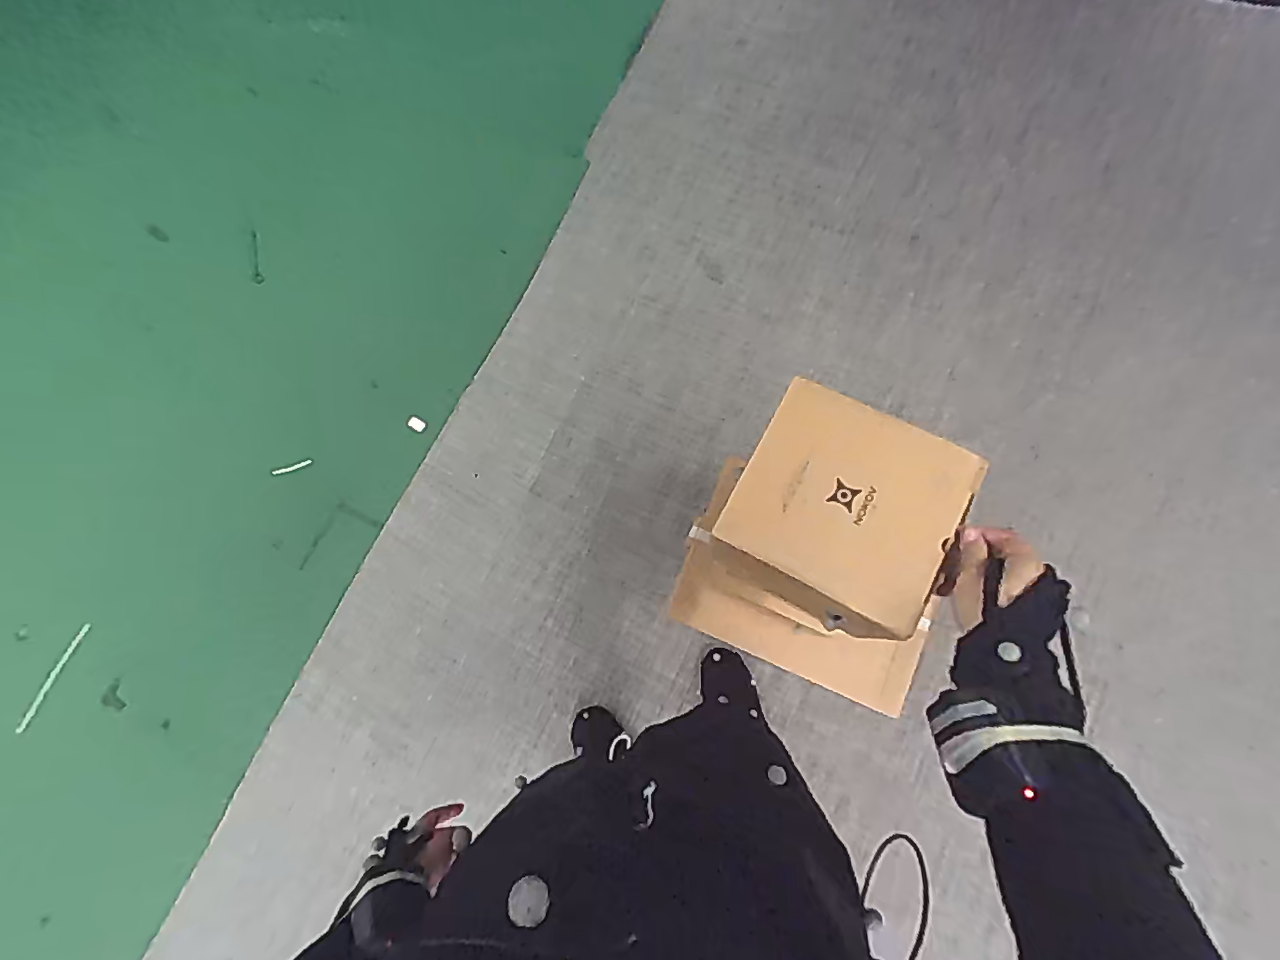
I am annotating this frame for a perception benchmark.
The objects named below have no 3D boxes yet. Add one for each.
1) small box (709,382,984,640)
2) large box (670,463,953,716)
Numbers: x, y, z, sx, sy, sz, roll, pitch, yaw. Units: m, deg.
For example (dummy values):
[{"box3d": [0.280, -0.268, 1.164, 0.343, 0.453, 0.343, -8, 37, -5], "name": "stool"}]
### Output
[{"box3d": [0.181, 0.038, 0.528, 0.179, 0.176, 0.168, 27, 78, 14], "name": "small box"}, {"box3d": [0.306, 0.206, 1.060, 0.408, 0.320, 0.320, 21, 80, 13], "name": "large box"}]
